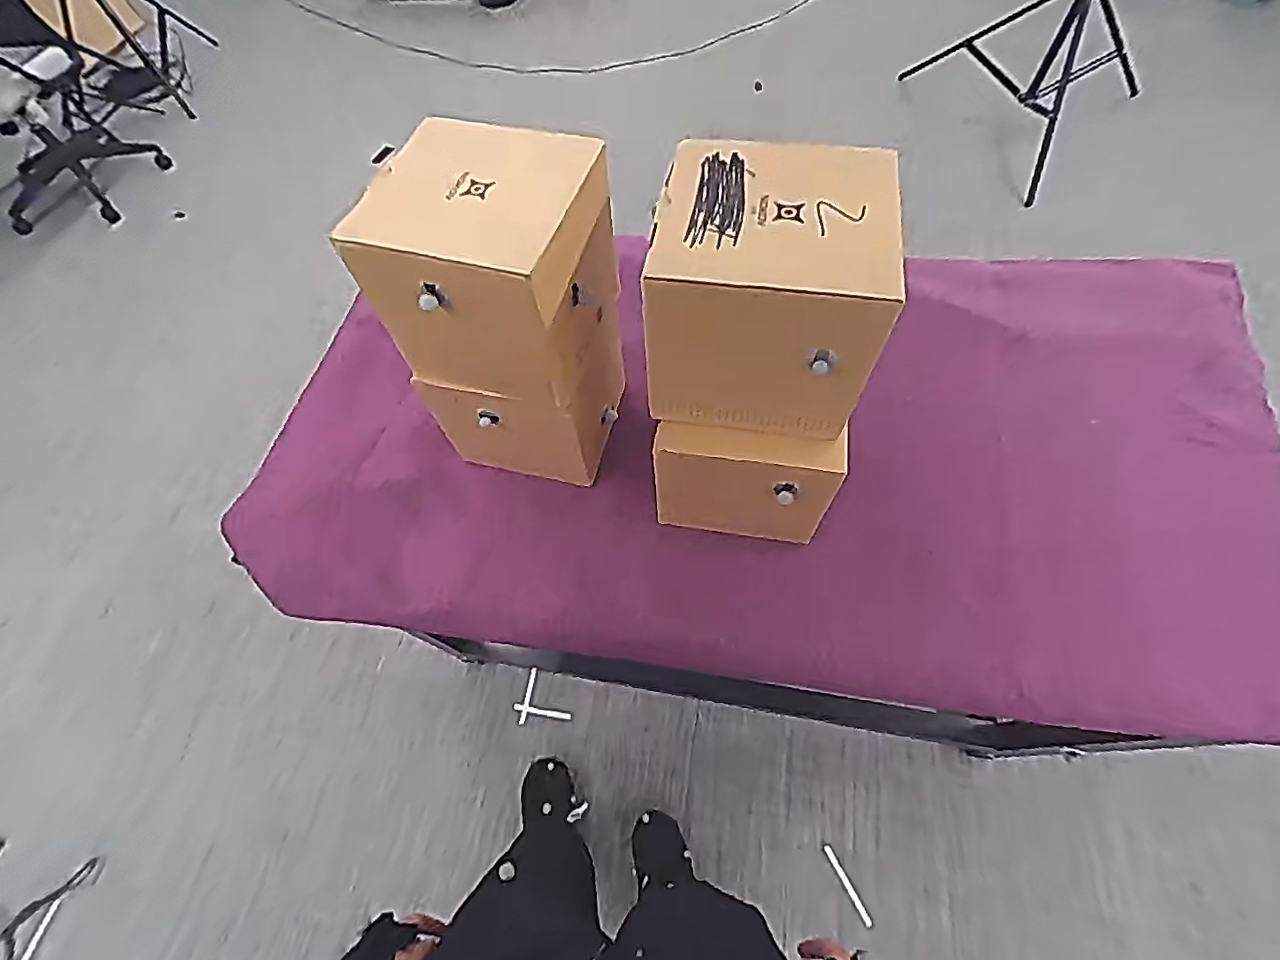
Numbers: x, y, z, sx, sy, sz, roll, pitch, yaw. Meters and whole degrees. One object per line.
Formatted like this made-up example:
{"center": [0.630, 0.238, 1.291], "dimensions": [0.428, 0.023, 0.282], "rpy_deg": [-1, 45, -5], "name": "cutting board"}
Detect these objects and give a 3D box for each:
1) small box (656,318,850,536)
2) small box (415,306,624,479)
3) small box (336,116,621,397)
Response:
{"center": [0.118, -0.051, 0.595], "dimensions": [0.179, 0.176, 0.168], "rpy_deg": [8, 61, 8], "name": "small box"}
{"center": [-0.126, -0.119, 0.649], "dimensions": [0.179, 0.176, 0.168], "rpy_deg": [12, 63, 9], "name": "small box"}
{"center": [-0.126, -0.199, 0.507], "dimensions": [0.179, 0.176, 0.168], "rpy_deg": [14, 63, 12], "name": "small box"}
